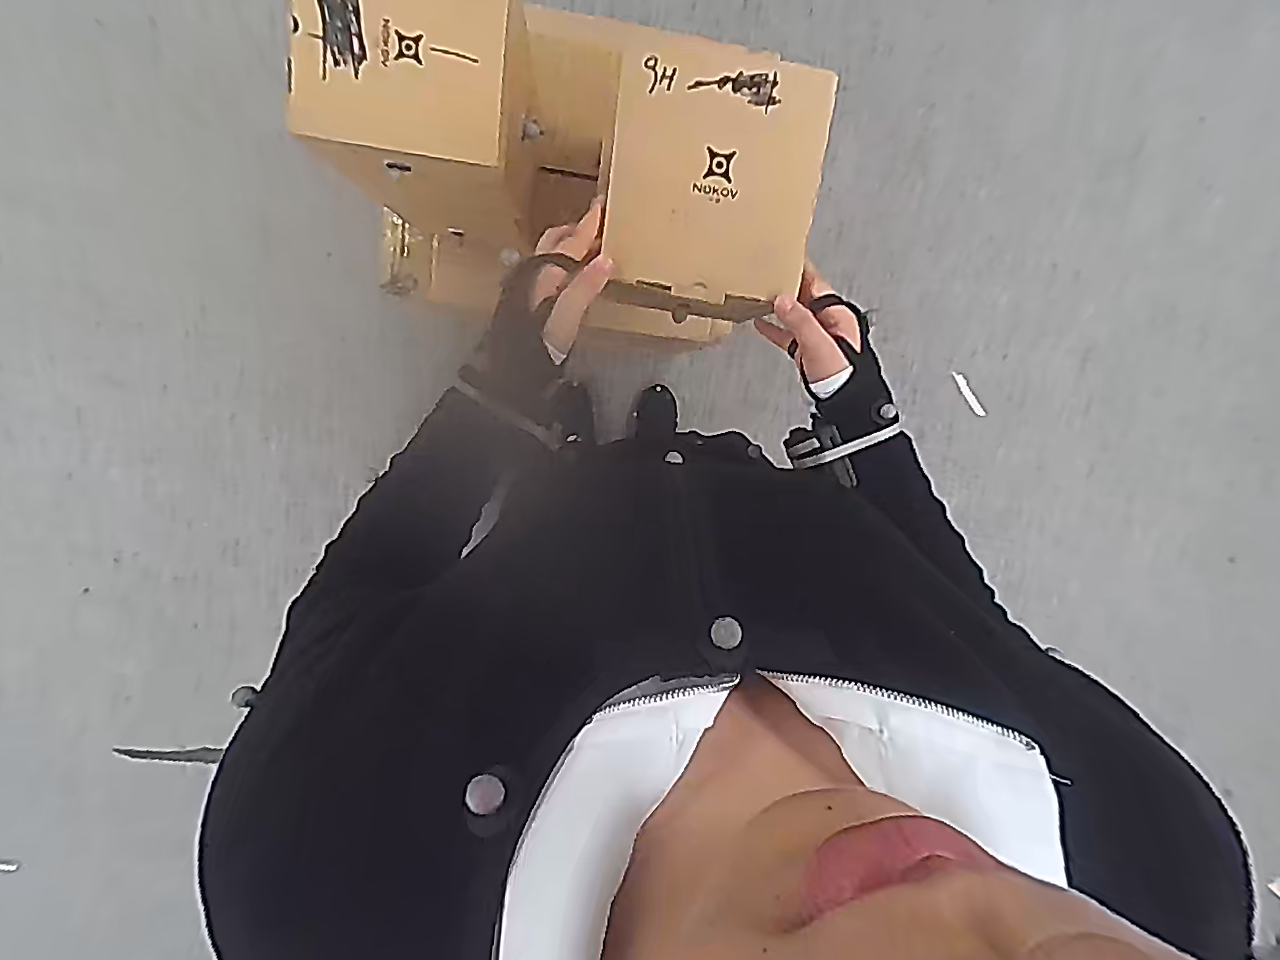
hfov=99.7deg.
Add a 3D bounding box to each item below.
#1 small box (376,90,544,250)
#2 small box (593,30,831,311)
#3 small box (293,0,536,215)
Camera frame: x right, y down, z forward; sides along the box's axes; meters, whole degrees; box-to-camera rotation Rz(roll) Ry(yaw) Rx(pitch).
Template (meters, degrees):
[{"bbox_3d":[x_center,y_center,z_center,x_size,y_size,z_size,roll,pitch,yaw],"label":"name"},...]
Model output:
[{"bbox_3d":[-0.219,-0.415,0.694,0.168,0.176,0.179,7,102,-5],"label":"small box"},{"bbox_3d":[0.050,-0.258,0.501,0.168,0.176,0.179,6,103,-5],"label":"small box"},{"bbox_3d":[-0.206,-0.379,0.533,0.179,0.176,0.168,6,101,-6],"label":"small box"}]
